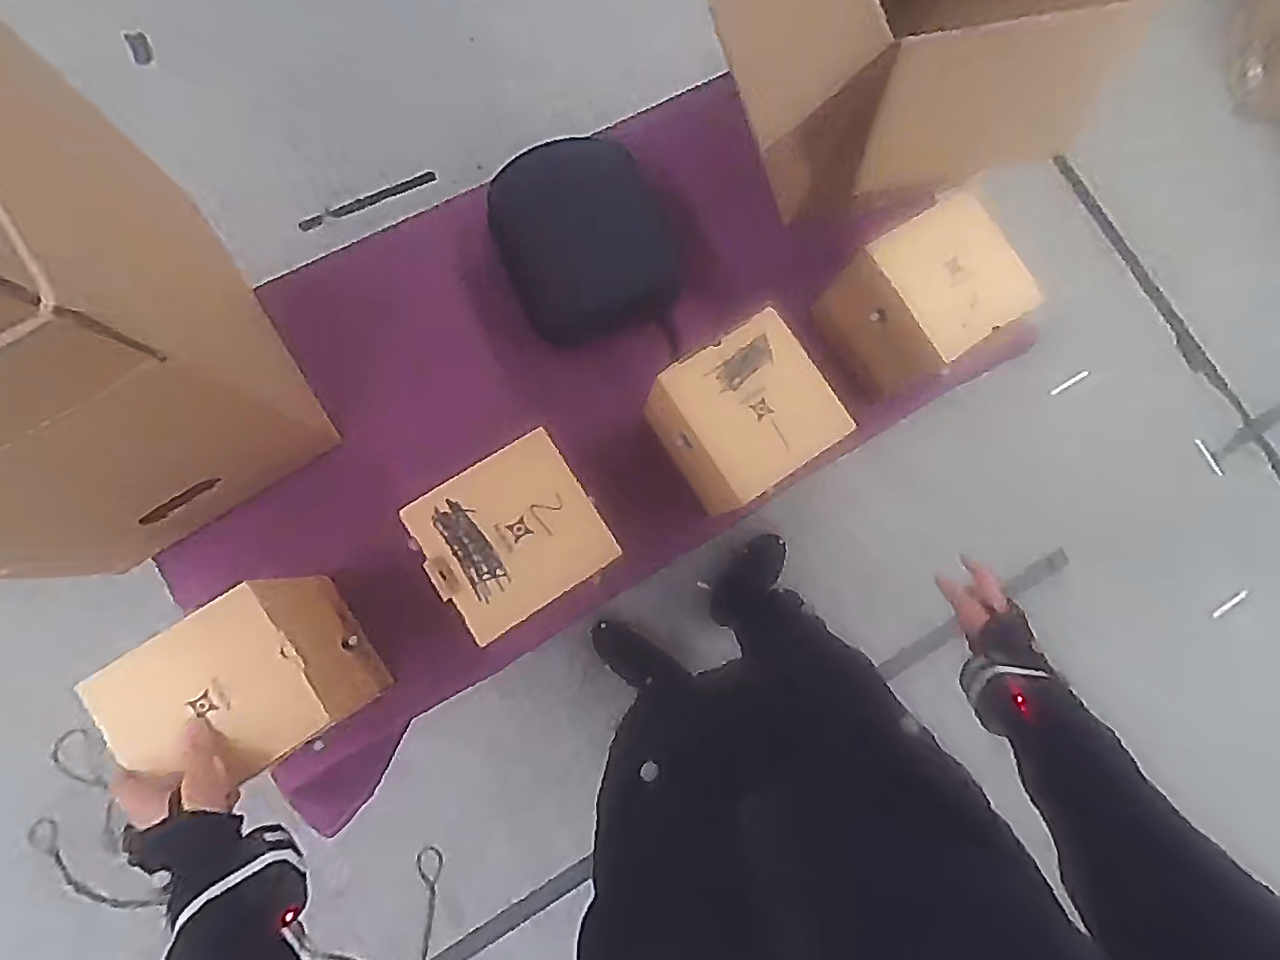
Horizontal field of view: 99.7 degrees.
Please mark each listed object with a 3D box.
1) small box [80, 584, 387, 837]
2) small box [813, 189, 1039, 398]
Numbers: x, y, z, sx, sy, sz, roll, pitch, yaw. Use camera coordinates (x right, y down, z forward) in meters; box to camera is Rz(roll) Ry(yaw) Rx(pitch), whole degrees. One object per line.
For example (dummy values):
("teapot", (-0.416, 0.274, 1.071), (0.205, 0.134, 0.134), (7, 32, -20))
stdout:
("small box", (-0.420, 0.231, 0.594), (0.179, 0.176, 0.168), (-34, 86, -10))
("small box", (0.369, -0.239, 0.733), (0.168, 0.176, 0.179), (-31, 85, -8))
